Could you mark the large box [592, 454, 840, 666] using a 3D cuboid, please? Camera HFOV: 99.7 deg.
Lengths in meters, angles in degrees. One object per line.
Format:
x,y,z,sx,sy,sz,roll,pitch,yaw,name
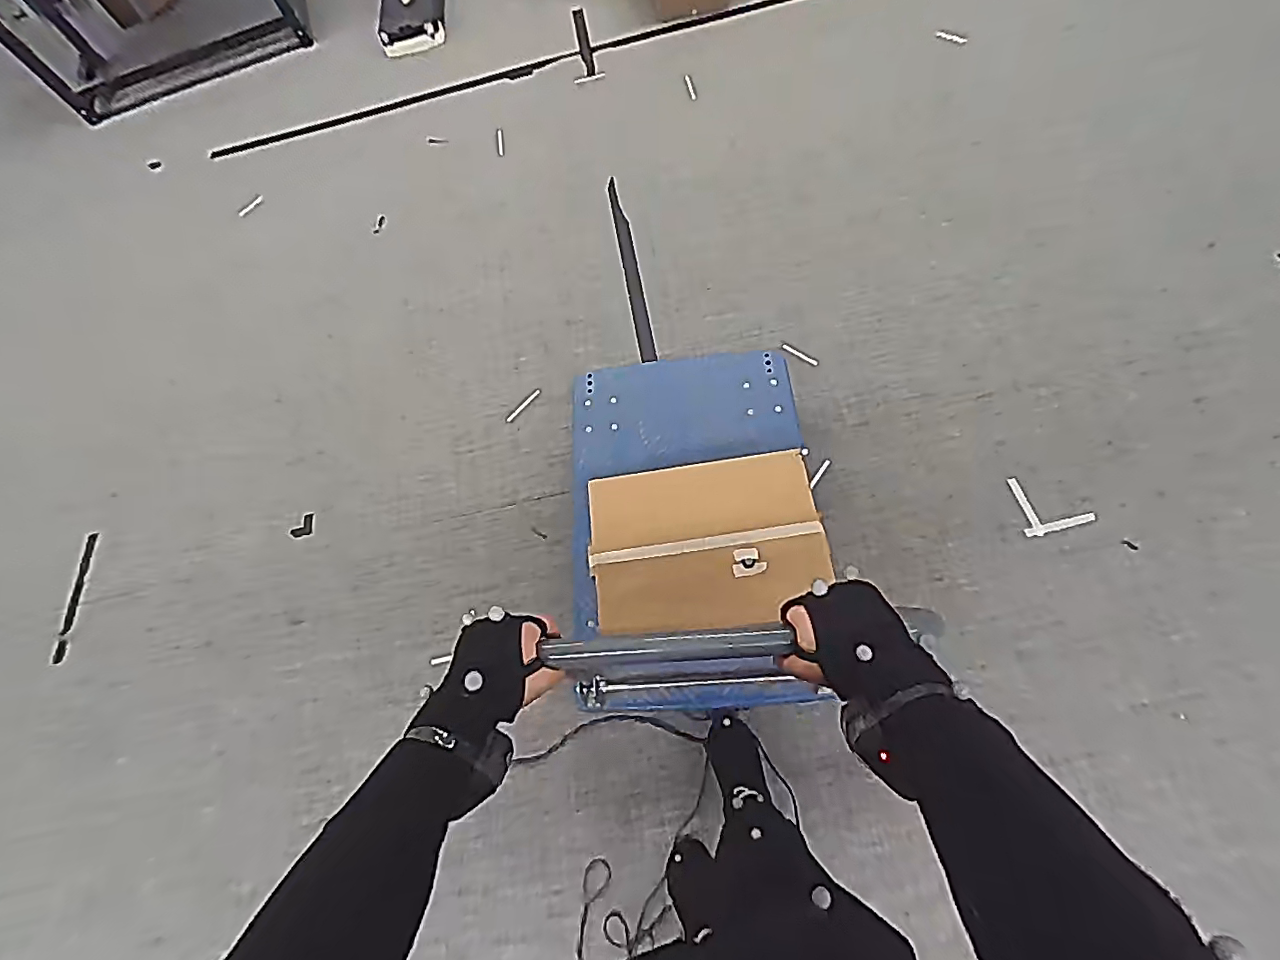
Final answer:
0.137,0.180,1.103,0.408,0.320,0.320,-9,66,3,large box
